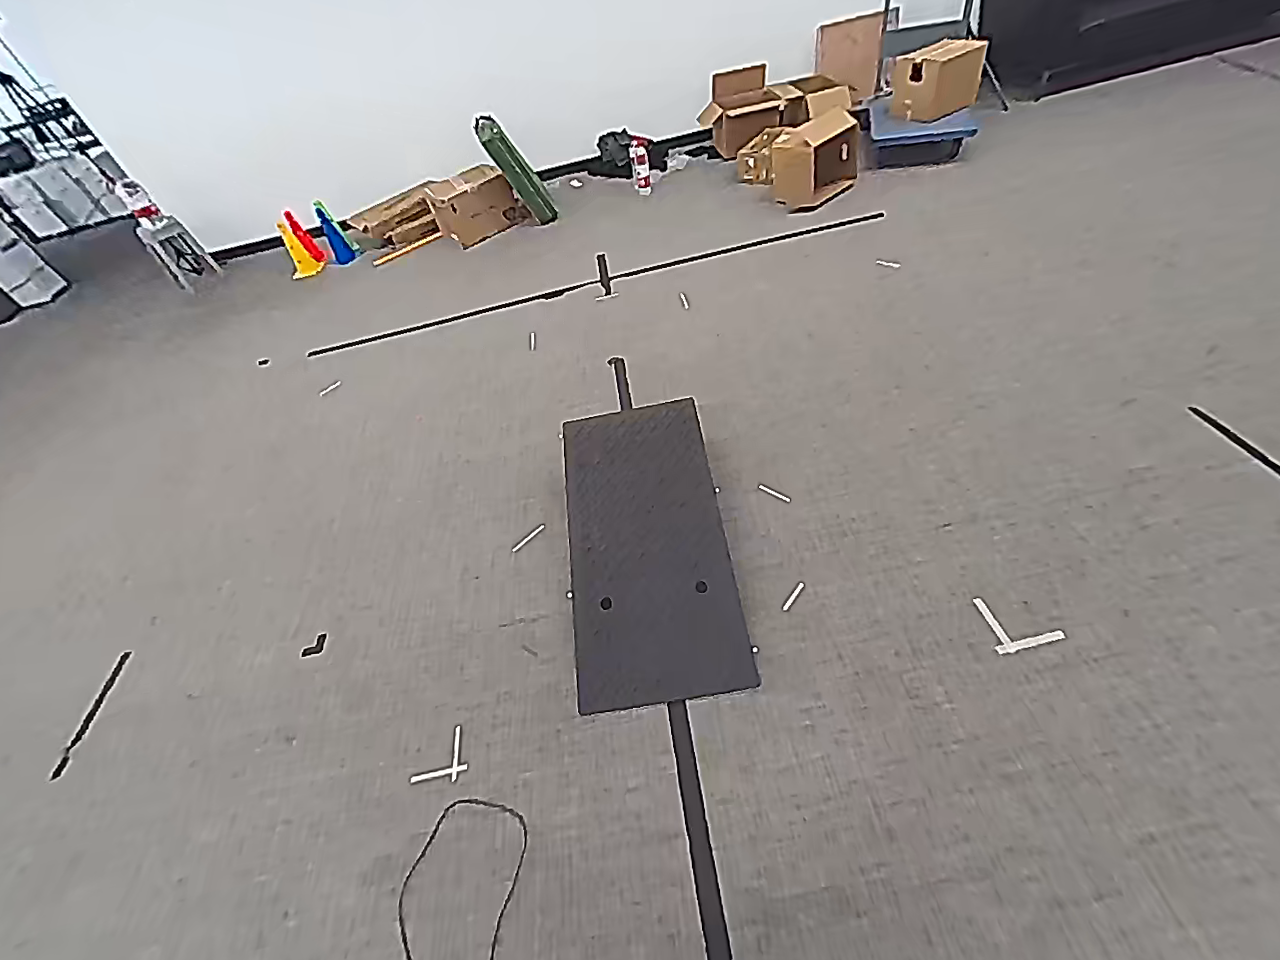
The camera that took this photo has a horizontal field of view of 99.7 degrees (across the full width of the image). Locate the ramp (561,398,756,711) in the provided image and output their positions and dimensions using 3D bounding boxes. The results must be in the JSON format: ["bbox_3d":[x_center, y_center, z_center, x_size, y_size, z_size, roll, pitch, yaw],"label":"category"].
[{"bbox_3d":[0.013,0.165,1.706,0.509,0.206,0.991,-11,47,2],"label":"ramp"}]
